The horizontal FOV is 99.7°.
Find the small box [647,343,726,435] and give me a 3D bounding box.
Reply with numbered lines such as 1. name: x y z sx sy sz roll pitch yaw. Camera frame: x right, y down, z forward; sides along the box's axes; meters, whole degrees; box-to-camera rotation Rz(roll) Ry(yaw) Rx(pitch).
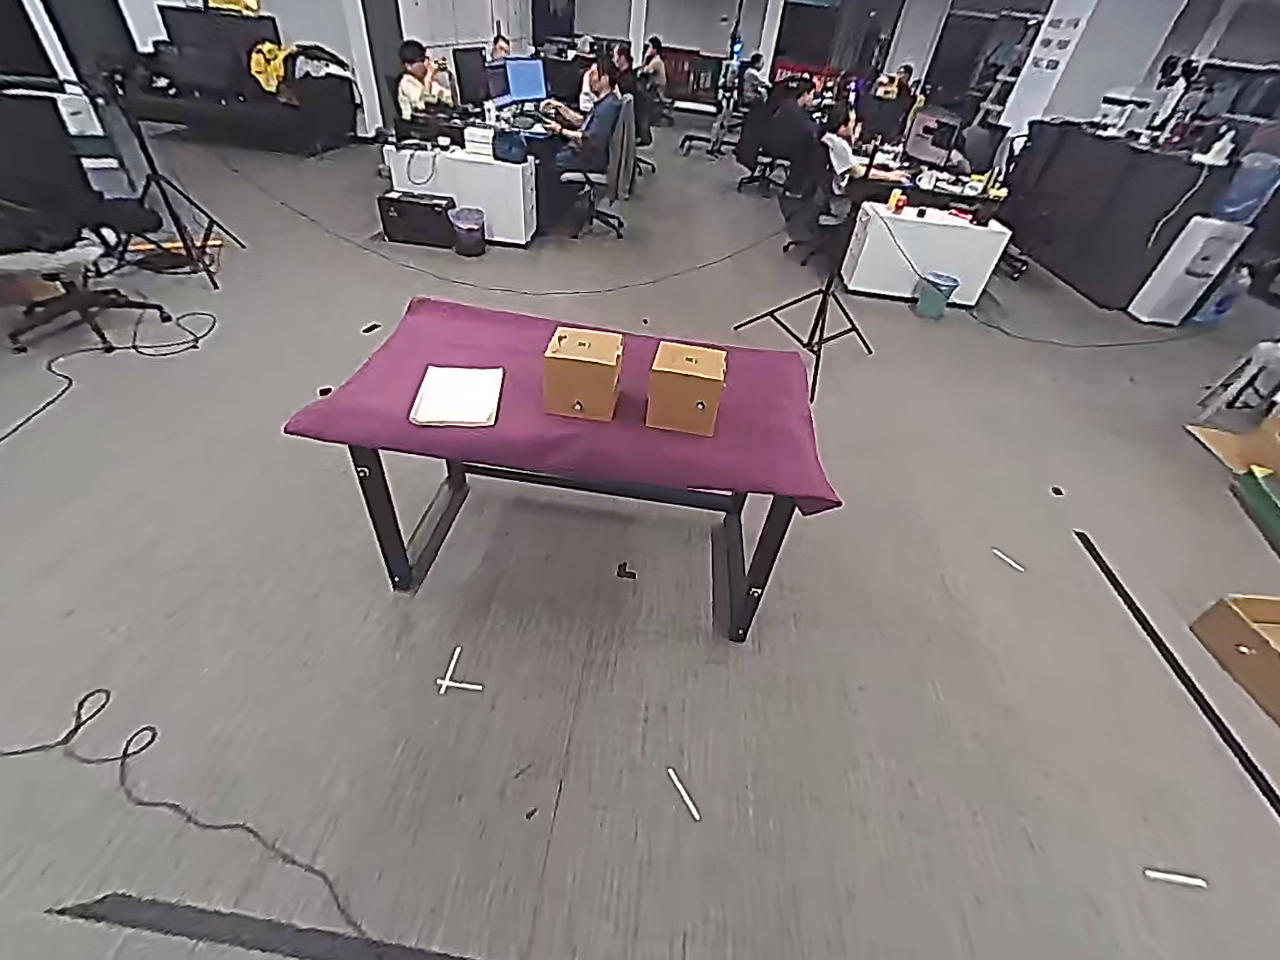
1. small box: 0.120 -0.233 1.398 0.179 0.176 0.168 9 38 5

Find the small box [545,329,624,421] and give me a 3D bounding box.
1. small box: -0.143 -0.270 1.404 0.179 0.176 0.168 8 39 1
